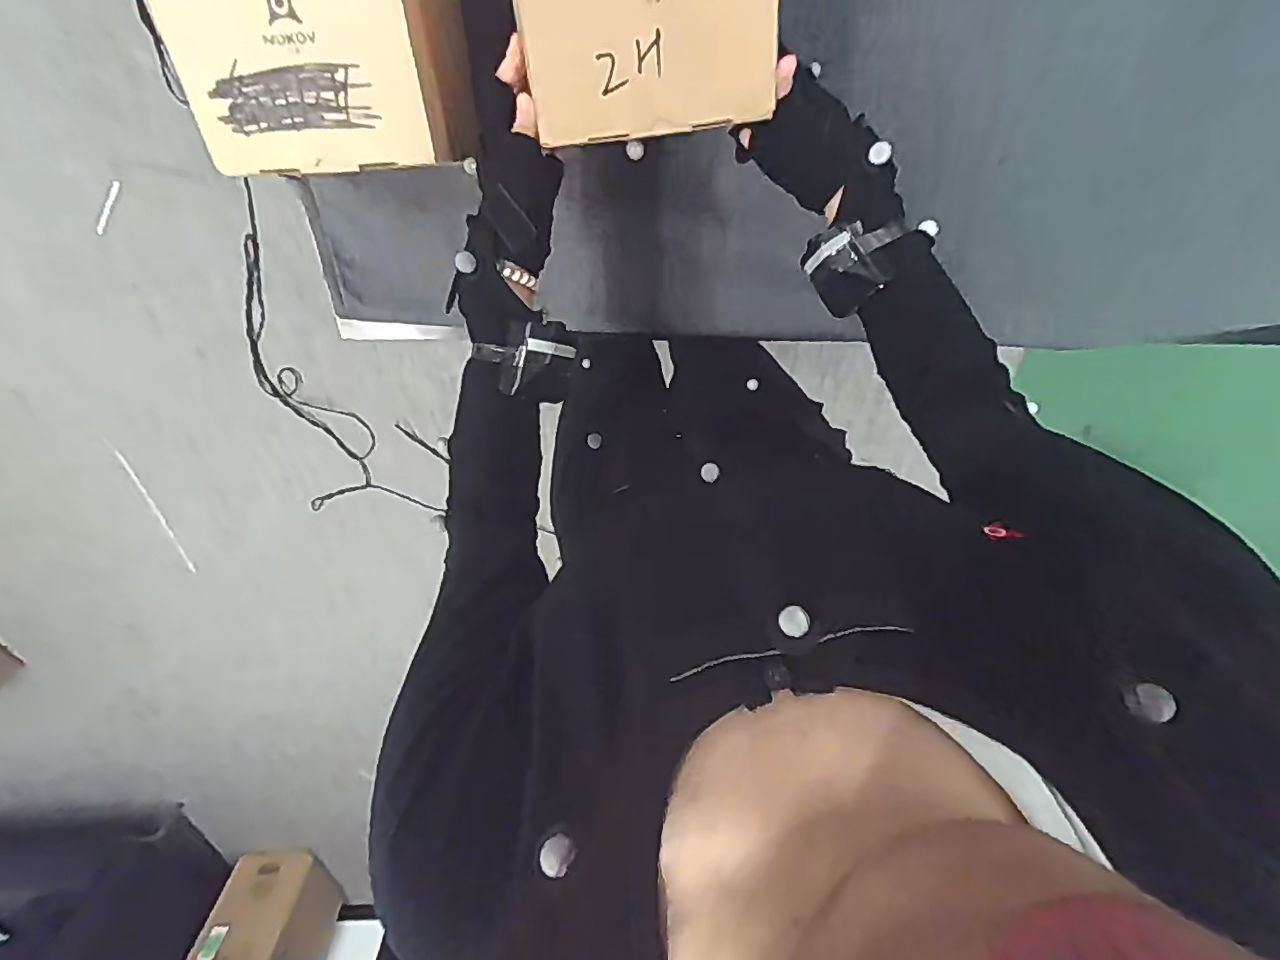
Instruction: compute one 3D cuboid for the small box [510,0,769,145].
[{"bbox_3d":[-0.012,-0.360,0.398,0.168,0.176,0.179,-10,121,-4],"label":"small box"}]
